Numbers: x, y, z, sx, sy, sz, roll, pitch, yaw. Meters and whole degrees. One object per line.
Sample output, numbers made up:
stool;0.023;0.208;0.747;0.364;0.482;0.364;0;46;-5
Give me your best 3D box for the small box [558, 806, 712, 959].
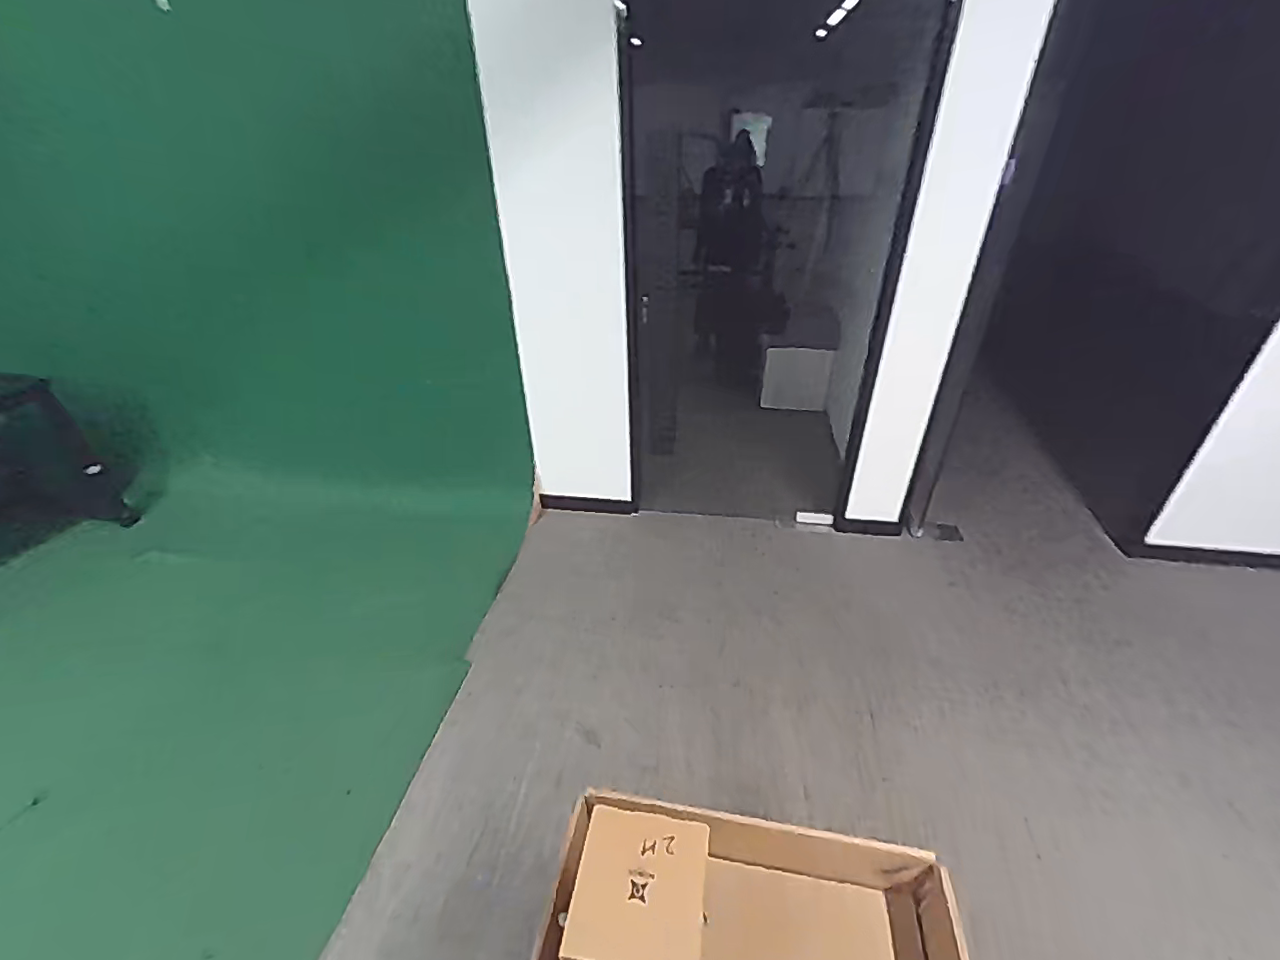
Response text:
small box;0.005;0.580;0.719;0.168;0.176;0.179;5;33;11
